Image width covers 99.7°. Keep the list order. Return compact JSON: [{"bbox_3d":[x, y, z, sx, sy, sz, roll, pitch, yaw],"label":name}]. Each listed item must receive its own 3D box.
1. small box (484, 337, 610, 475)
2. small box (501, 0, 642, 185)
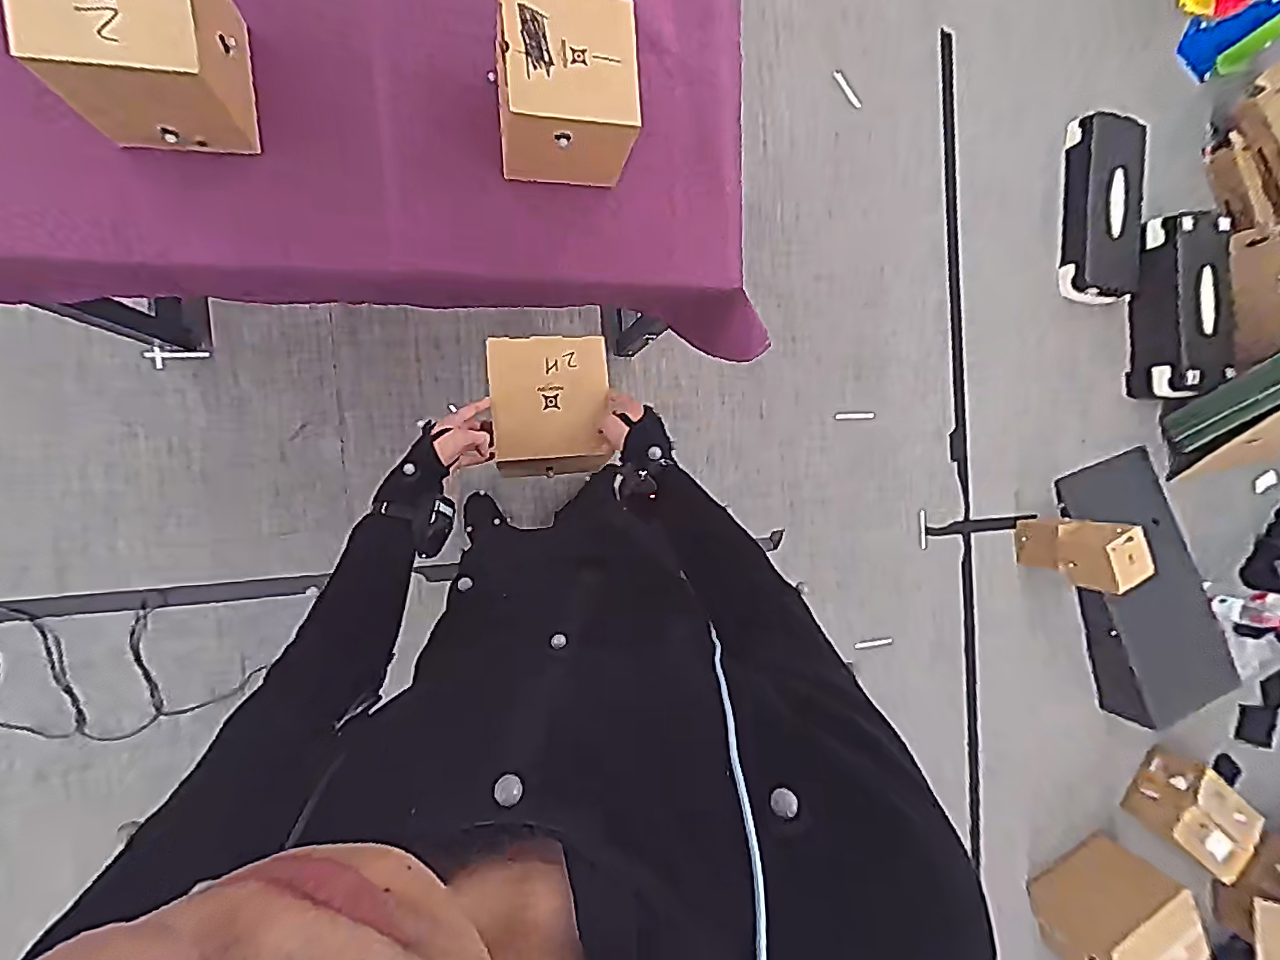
[{"bbox_3d":[-0.143,-0.104,0.827,0.168,0.176,0.179,-4,83,-13],"label":"small box"},{"bbox_3d":[-0.104,-0.546,0.770,0.179,0.176,0.168,-4,93,-15],"label":"small box"}]
